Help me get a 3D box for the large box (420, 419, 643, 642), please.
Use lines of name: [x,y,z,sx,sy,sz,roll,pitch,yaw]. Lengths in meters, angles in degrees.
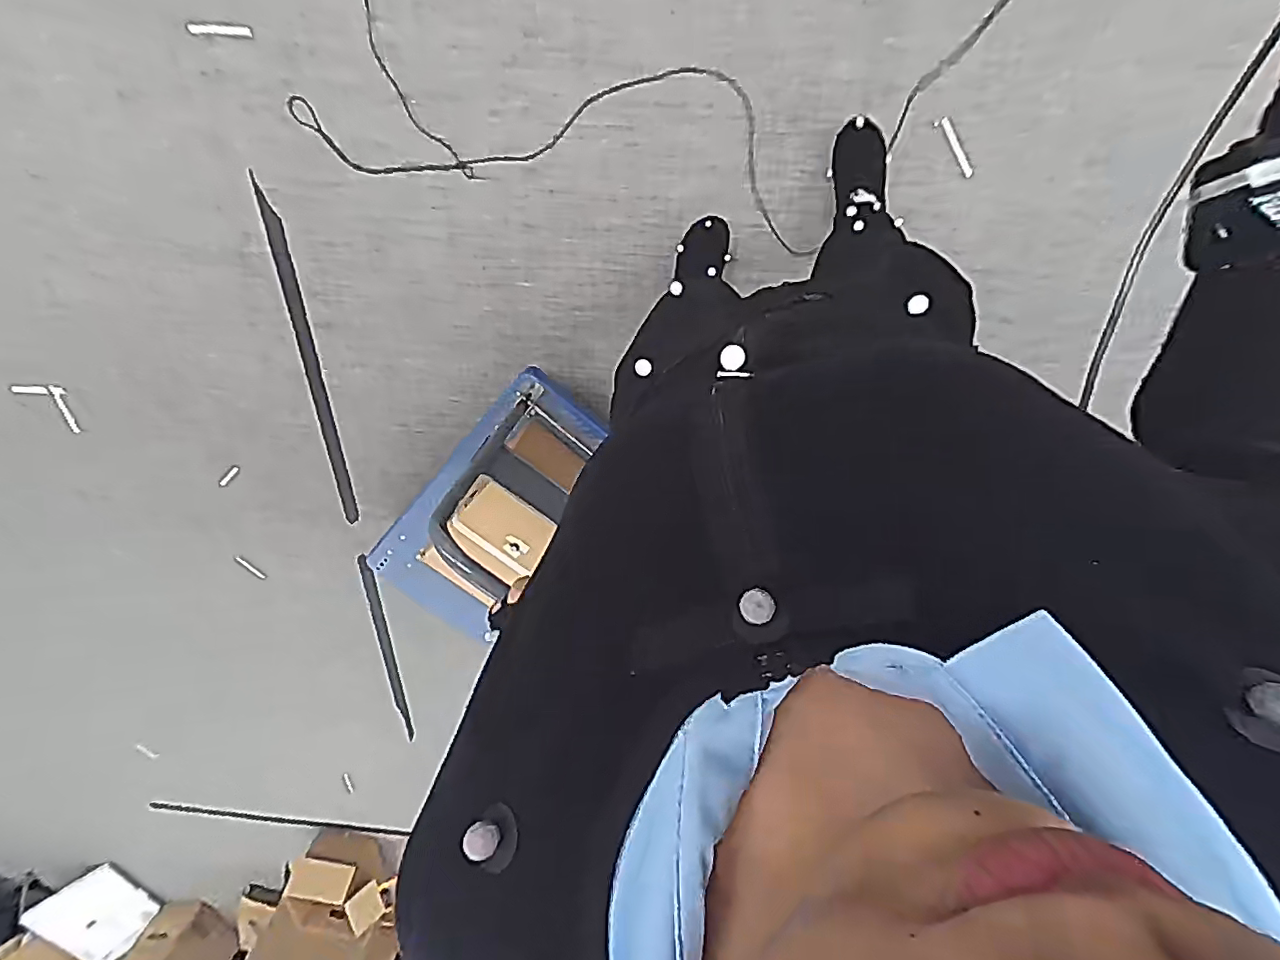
large box: [-0.249,0.125,1.368,0.408,0.320,0.320,41,115,-16]
